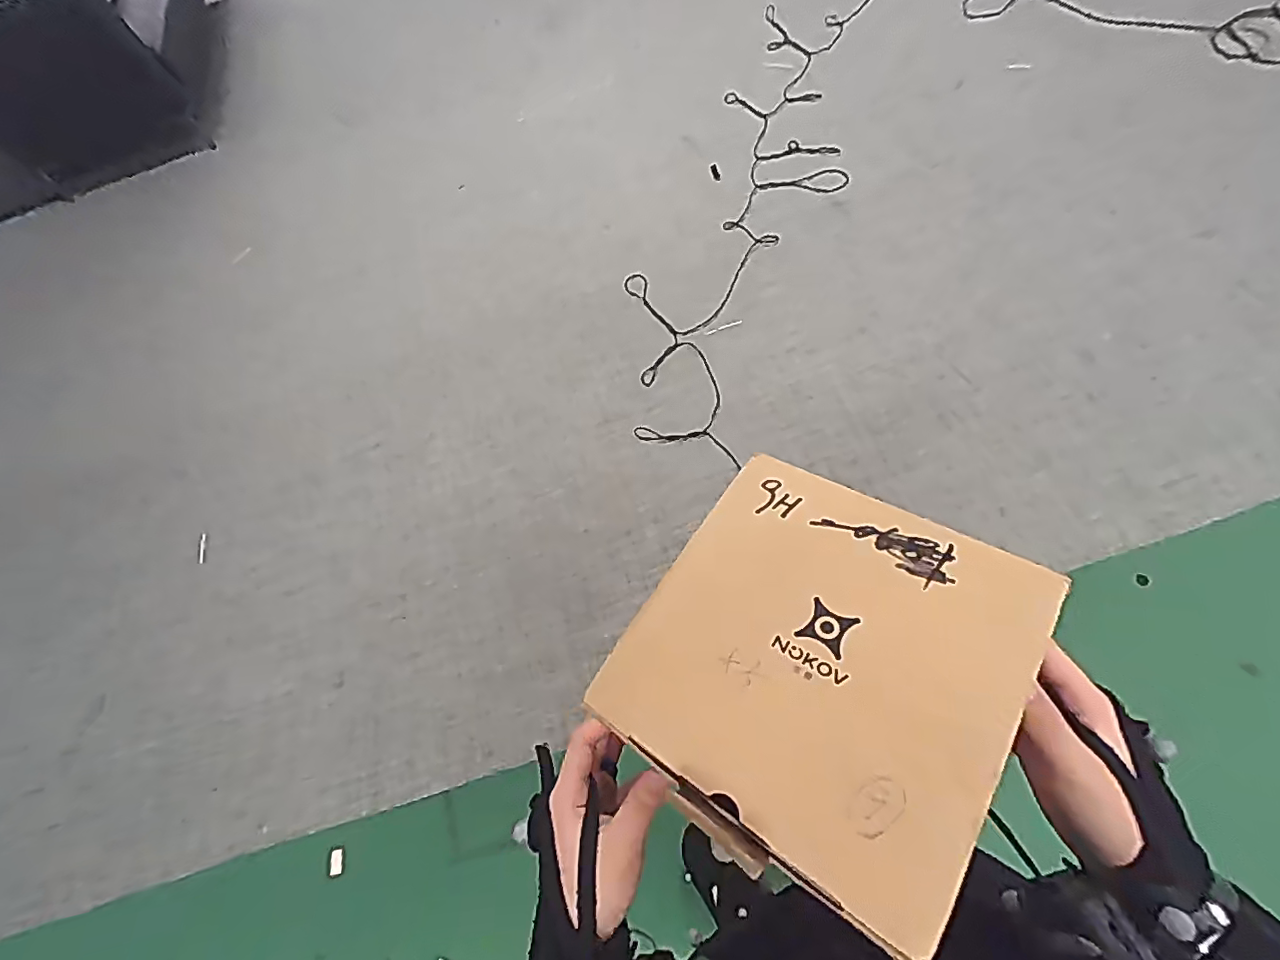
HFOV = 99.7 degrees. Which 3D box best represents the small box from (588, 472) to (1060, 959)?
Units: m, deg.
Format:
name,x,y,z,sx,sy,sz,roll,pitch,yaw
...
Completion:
name,x,y,z,sx,sy,sz,roll,pitch,yaw
small box,0.103,0.133,0.325,0.168,0.176,0.179,26,66,29
